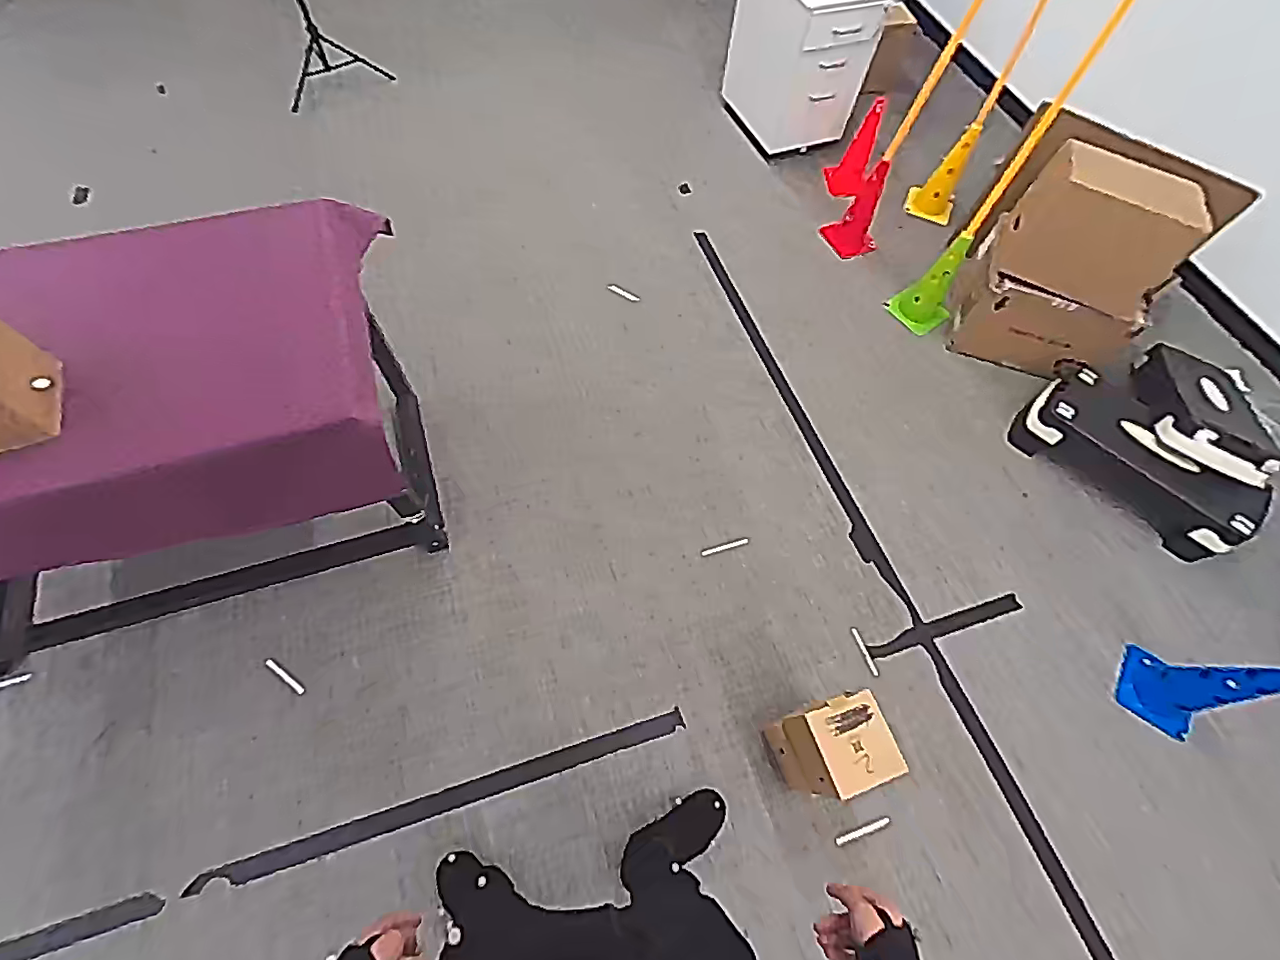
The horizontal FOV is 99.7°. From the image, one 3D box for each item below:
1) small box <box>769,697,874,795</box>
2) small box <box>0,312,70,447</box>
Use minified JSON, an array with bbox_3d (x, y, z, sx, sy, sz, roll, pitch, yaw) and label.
[{"bbox_3d":[0.441,0.667,1.358,0.179,0.176,0.168,-19,66,-13],"label":"small box"},{"bbox_3d":[-1.072,-0.155,0.849,0.179,0.176,0.168,-19,66,-13],"label":"small box"}]
